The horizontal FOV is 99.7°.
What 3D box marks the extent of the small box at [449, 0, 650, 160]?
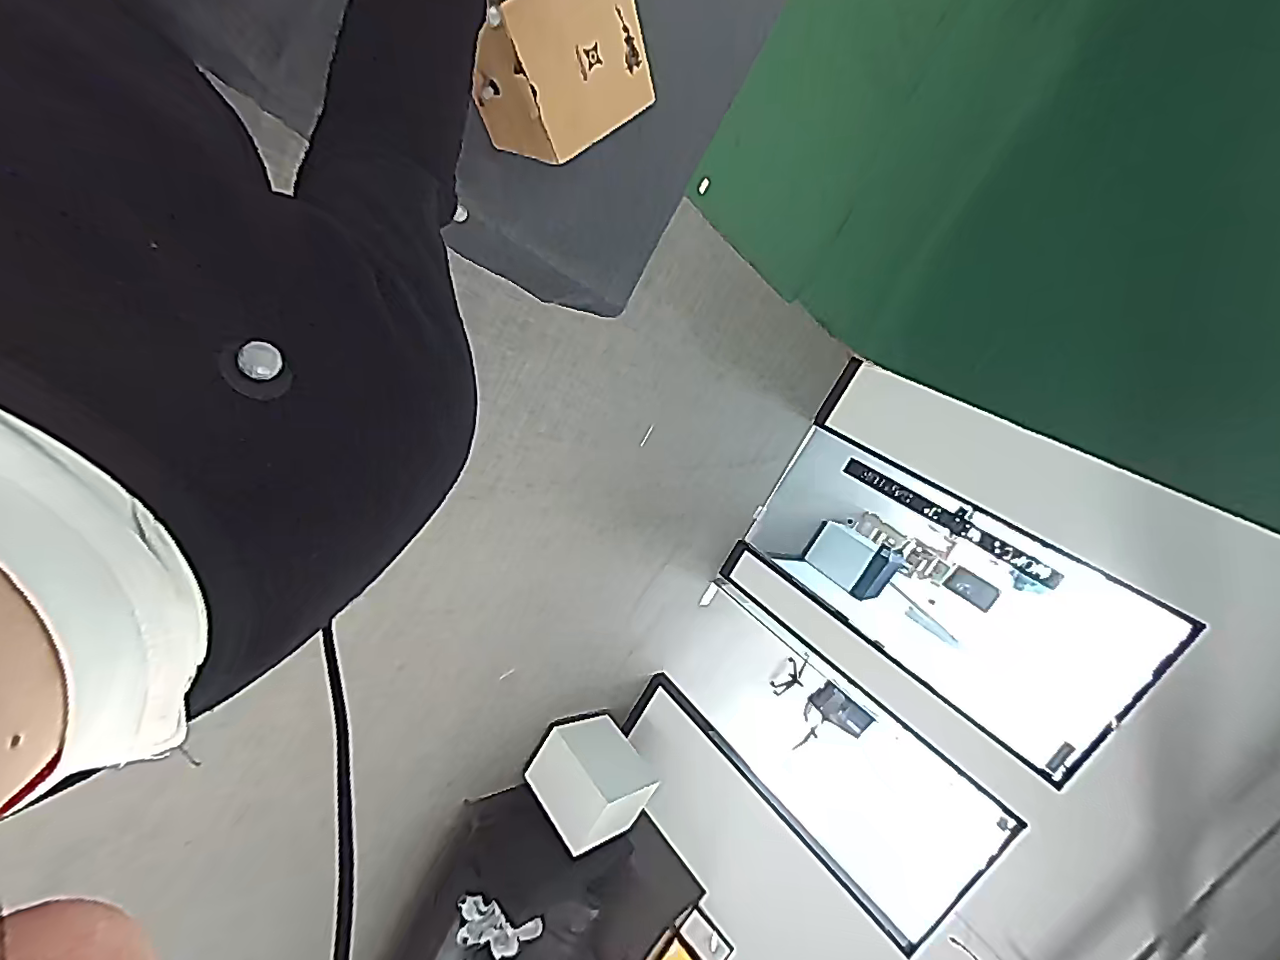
[{"bbox_3d":[-0.119,-0.546,0.696,0.179,0.176,0.168,-40,142,-14],"label":"small box"}]
